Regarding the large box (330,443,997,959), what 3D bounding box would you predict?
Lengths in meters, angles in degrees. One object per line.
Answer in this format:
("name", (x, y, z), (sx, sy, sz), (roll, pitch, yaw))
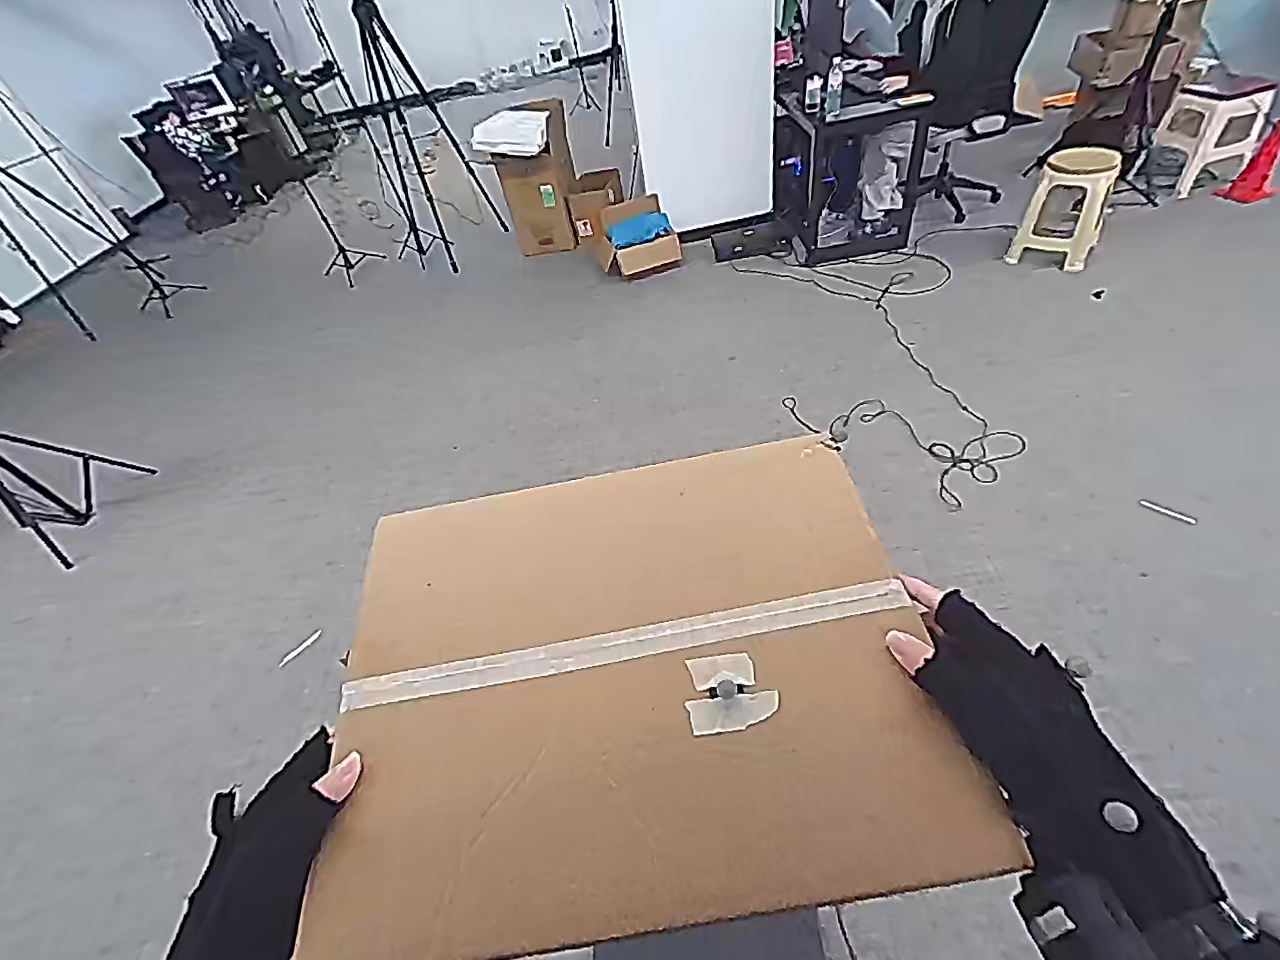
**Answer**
("large box", (0.009, 0.212, 0.518), (0.408, 0.320, 0.320), (-11, 53, 1))
